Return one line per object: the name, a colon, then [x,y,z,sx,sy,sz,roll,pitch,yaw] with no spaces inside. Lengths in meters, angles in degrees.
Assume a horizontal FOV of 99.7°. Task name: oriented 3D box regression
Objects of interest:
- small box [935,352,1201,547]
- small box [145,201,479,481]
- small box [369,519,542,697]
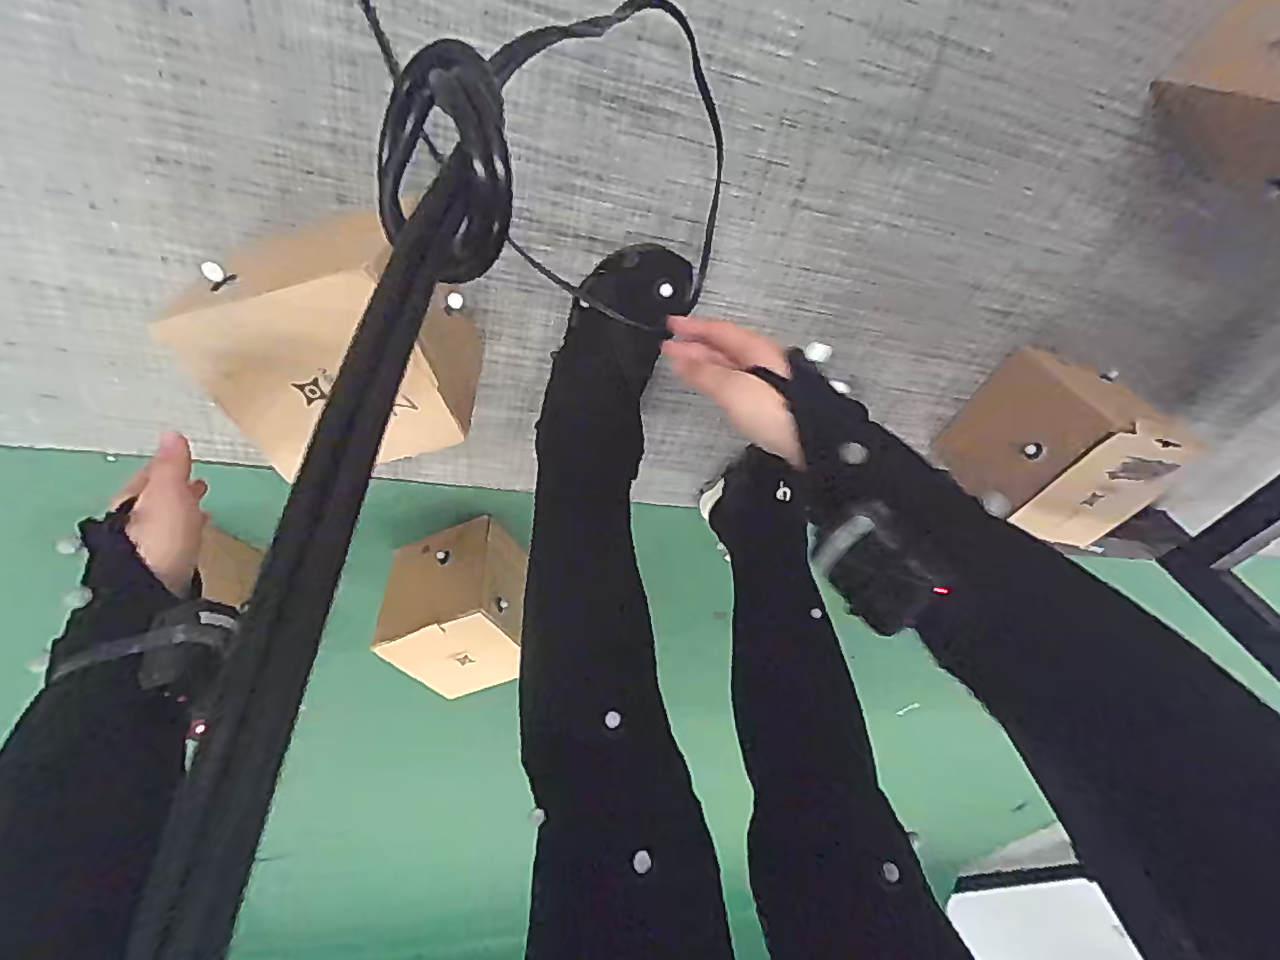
small box: [0.532,-0.040,0.704,0.168,0.176,0.179,10,131,-18]
small box: [-0.265,-0.129,0.492,0.179,0.176,0.168,-13,133,3]
small box: [-0.252,0.187,0.793,0.168,0.176,0.179,-20,132,10]
